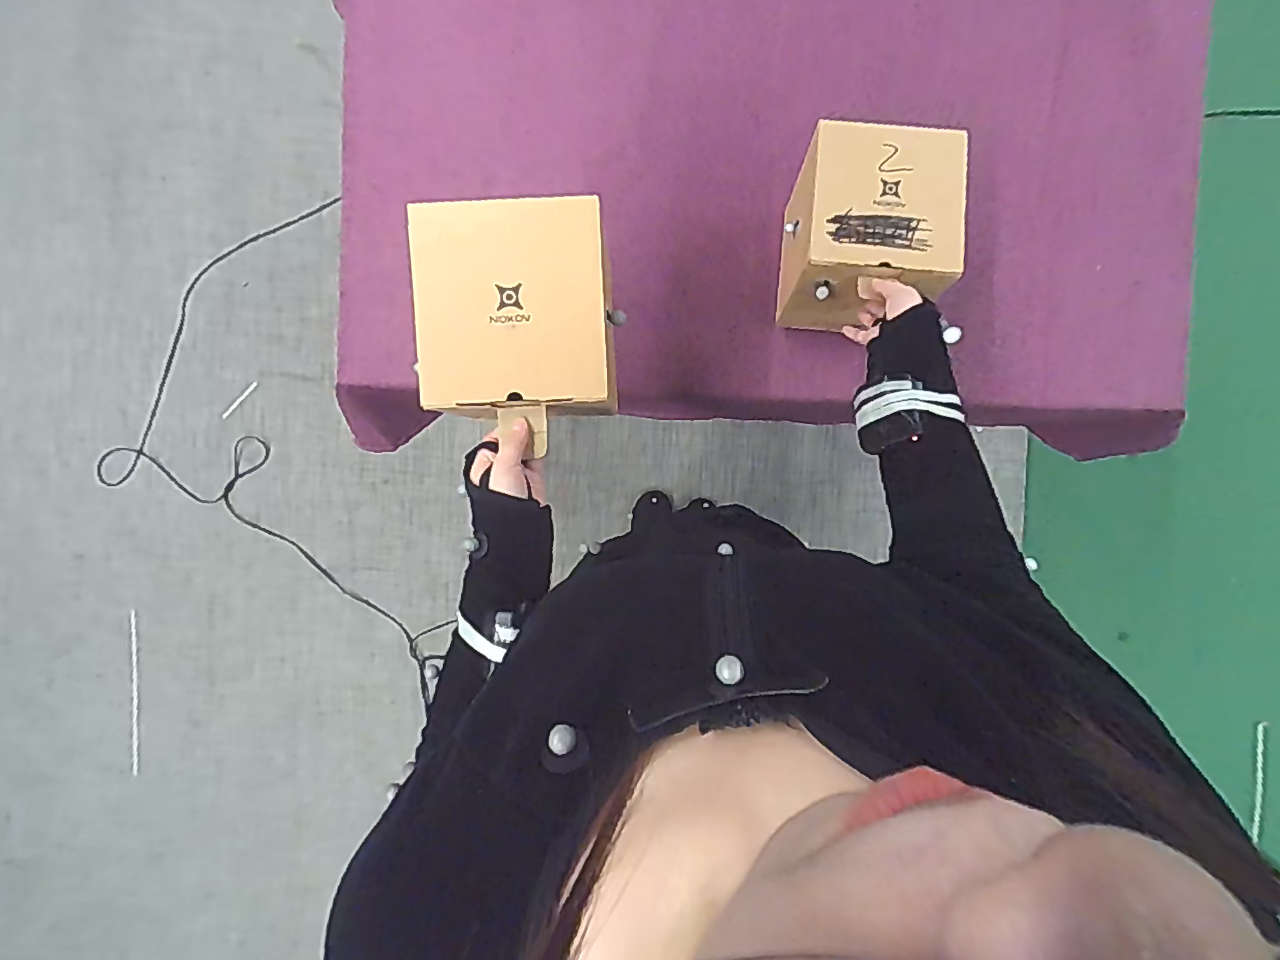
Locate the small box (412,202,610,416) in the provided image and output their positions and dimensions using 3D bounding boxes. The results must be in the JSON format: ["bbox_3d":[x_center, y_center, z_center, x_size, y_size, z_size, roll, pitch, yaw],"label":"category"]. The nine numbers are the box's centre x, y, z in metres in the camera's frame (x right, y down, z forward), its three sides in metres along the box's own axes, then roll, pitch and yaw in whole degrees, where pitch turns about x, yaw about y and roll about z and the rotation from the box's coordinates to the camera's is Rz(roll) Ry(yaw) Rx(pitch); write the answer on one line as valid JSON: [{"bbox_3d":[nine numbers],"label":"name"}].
[{"bbox_3d":[-0.118,-0.162,0.560,0.168,0.176,0.179,-3,94,0],"label":"small box"}]
